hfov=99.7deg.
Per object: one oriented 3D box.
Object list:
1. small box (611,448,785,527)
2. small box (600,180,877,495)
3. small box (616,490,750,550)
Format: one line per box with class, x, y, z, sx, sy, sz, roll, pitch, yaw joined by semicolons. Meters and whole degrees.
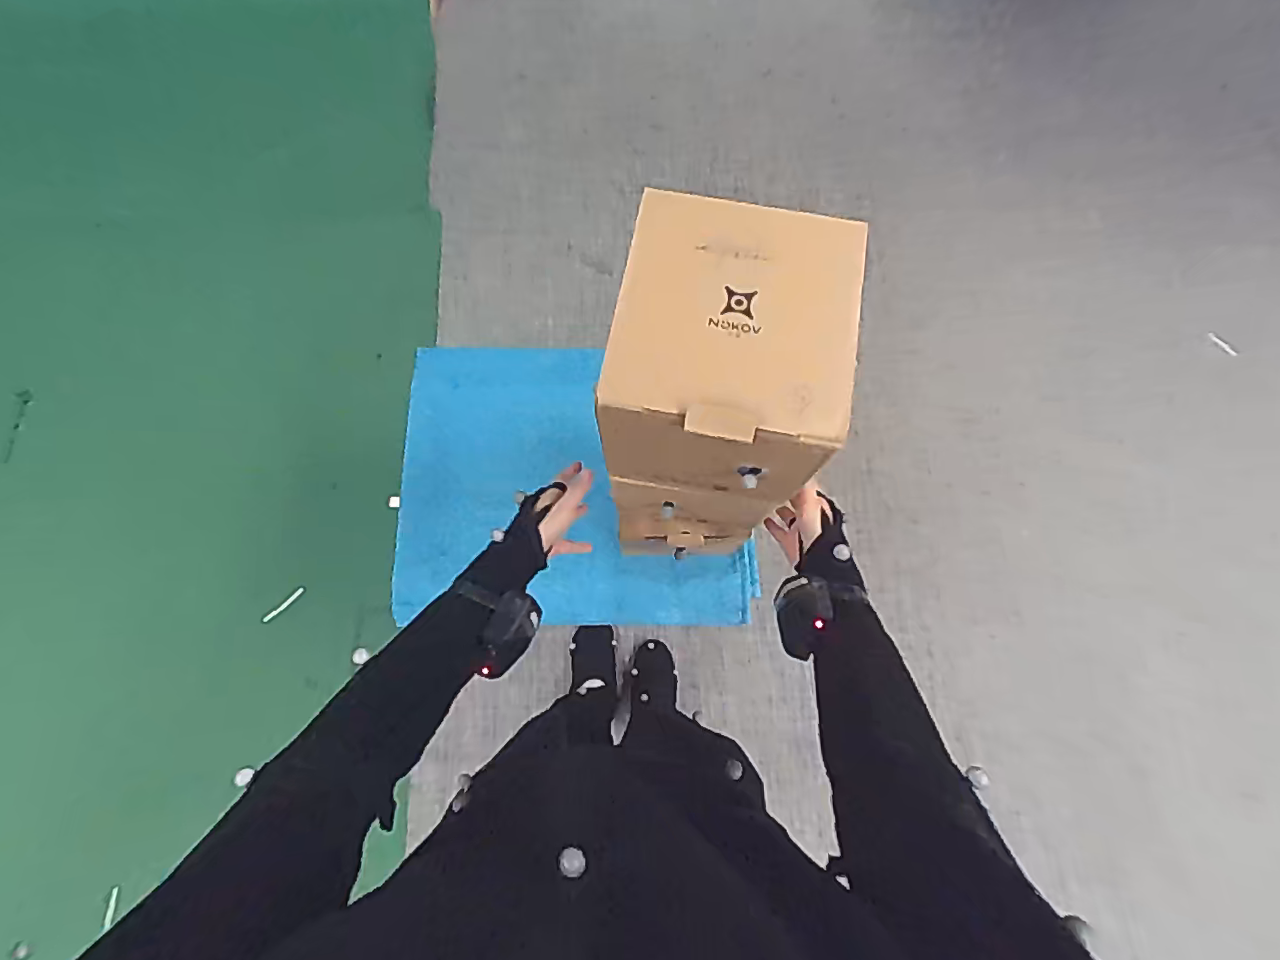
small box;0.067;-0.054;0.597;0.168;0.176;0.179;9;74;2
small box;0.070;-0.098;0.440;0.168;0.176;0.179;11;74;2
small box;0.054;0.003;0.750;0.168;0.176;0.179;0;76;-1
